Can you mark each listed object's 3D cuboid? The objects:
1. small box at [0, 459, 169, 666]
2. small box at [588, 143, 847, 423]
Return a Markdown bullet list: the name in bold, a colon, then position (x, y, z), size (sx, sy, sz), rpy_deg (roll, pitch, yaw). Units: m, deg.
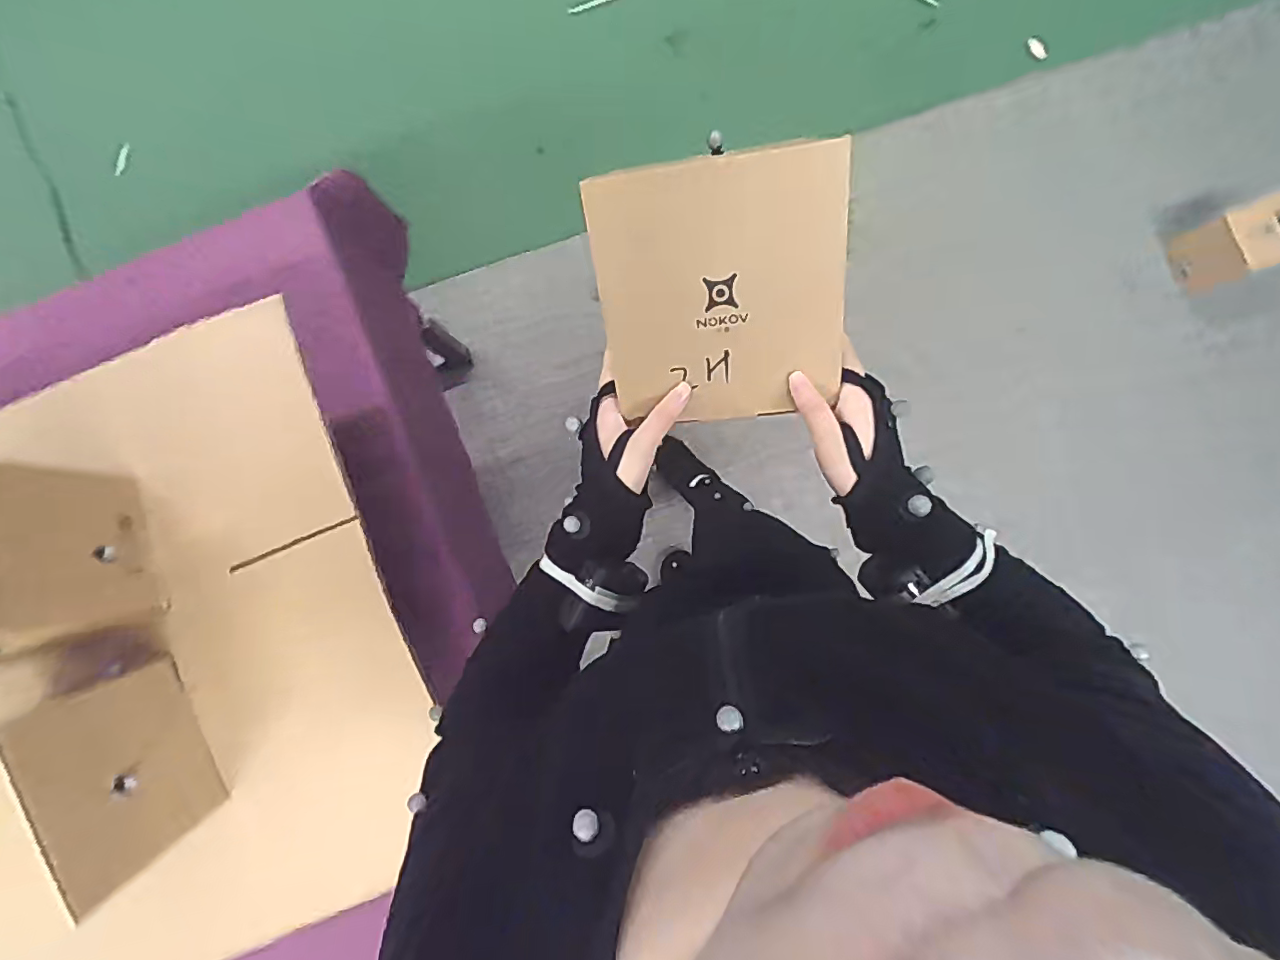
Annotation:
- **small box**: position (-0.644, 0.092, 0.546), size (0.179, 0.176, 0.168), rpy_deg (-21, 83, 0)
- **small box**: position (0.063, -0.164, 0.446), size (0.168, 0.176, 0.179), rpy_deg (-3, 121, 10)
